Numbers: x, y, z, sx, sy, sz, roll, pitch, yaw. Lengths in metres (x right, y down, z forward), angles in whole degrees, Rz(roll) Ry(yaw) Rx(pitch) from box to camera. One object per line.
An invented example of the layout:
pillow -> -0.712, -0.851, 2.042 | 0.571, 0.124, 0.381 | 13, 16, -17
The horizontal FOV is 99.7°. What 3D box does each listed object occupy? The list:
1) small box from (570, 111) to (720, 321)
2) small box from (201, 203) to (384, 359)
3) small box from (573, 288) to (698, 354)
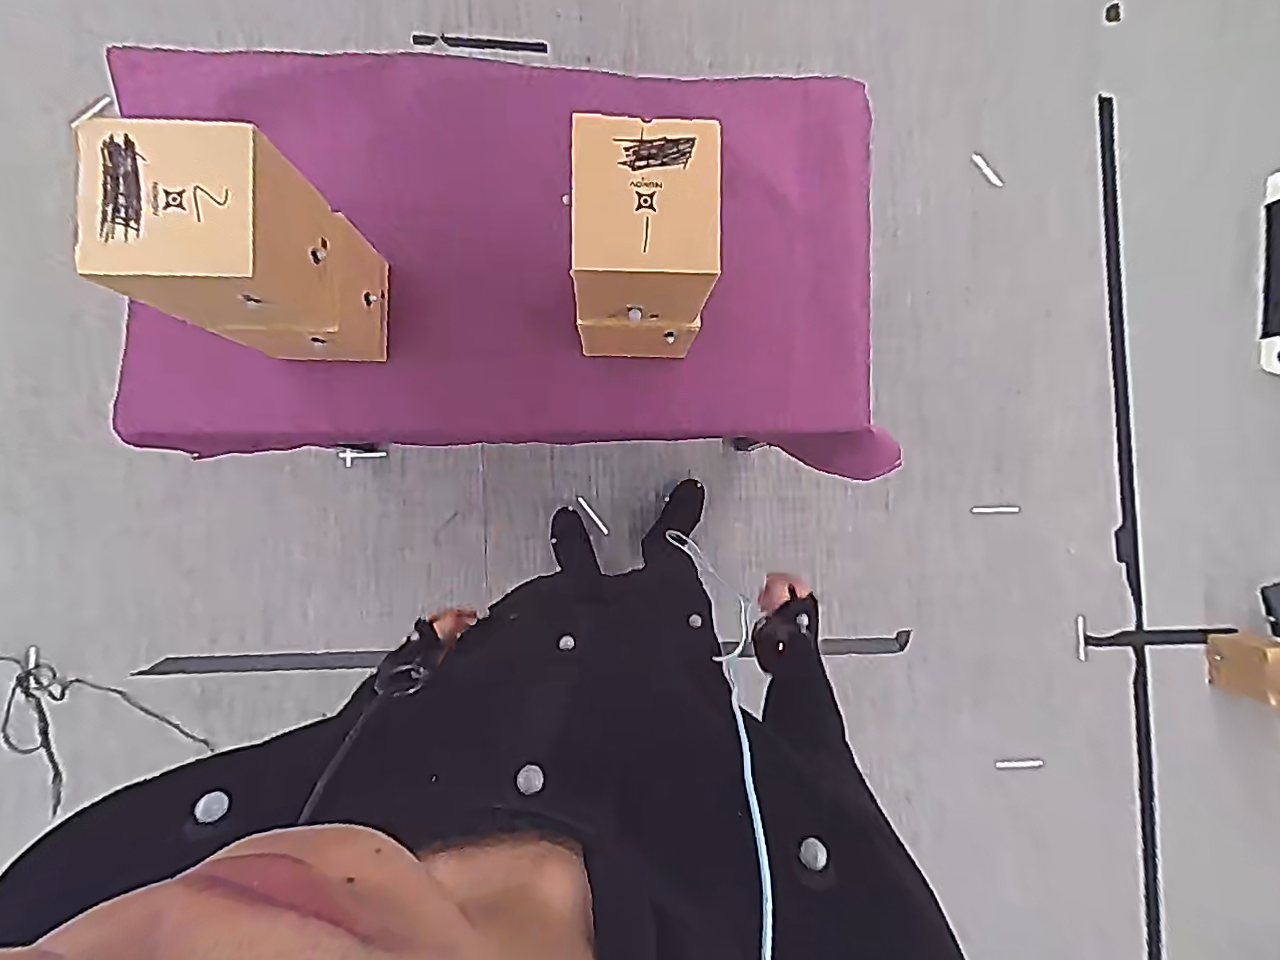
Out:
small box -> 0.000, -0.311, 0.669 | 0.168, 0.176, 0.179 | 0, 89, -4
small box -> -0.496, -0.281, 0.798 | 0.179, 0.176, 0.168 | 1, 89, -4
small box -> -0.009, -0.295, 0.833 | 0.179, 0.176, 0.168 | 0, 89, -4
